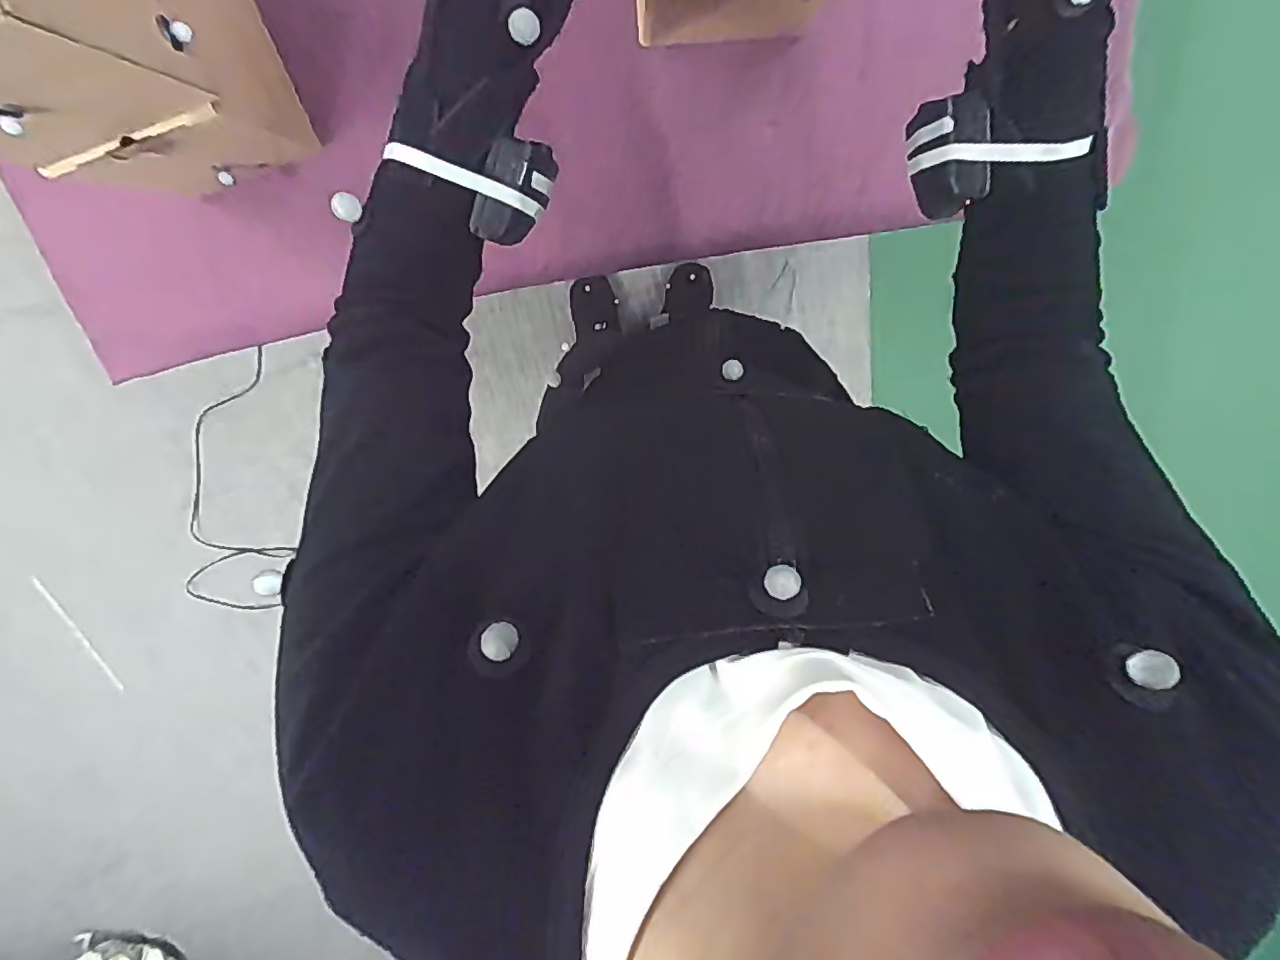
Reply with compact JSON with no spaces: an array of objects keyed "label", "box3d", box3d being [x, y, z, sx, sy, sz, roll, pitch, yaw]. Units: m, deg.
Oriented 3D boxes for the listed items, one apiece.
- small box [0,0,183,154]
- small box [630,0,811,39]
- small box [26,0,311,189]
[{"label":"small box","box3d":[-0.440,-0.325,0.331,0.179,0.176,0.168,-14,111,4]},{"label":"small box","box3d":[0.074,-0.500,0.451,0.179,0.176,0.168,-5,113,0]},{"label":"small box","box3d":[-0.449,-0.386,0.487,0.168,0.176,0.179,-15,113,6]}]
